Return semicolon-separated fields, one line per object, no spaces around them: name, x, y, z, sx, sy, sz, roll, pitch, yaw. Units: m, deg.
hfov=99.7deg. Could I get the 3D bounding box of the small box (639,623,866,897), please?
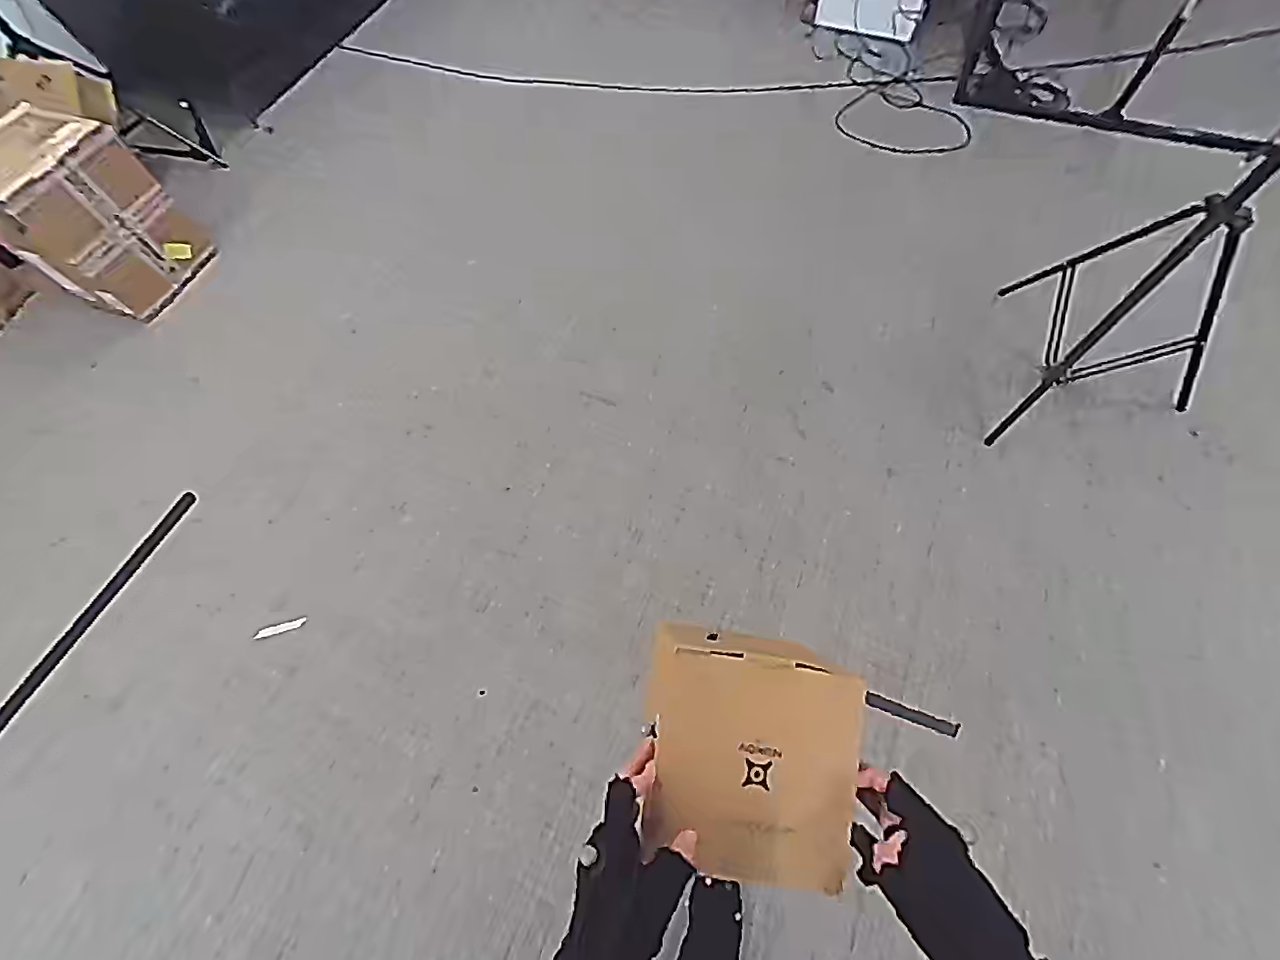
small box;0.092;0.241;0.514;0.168;0.176;0.179;9;83;0
